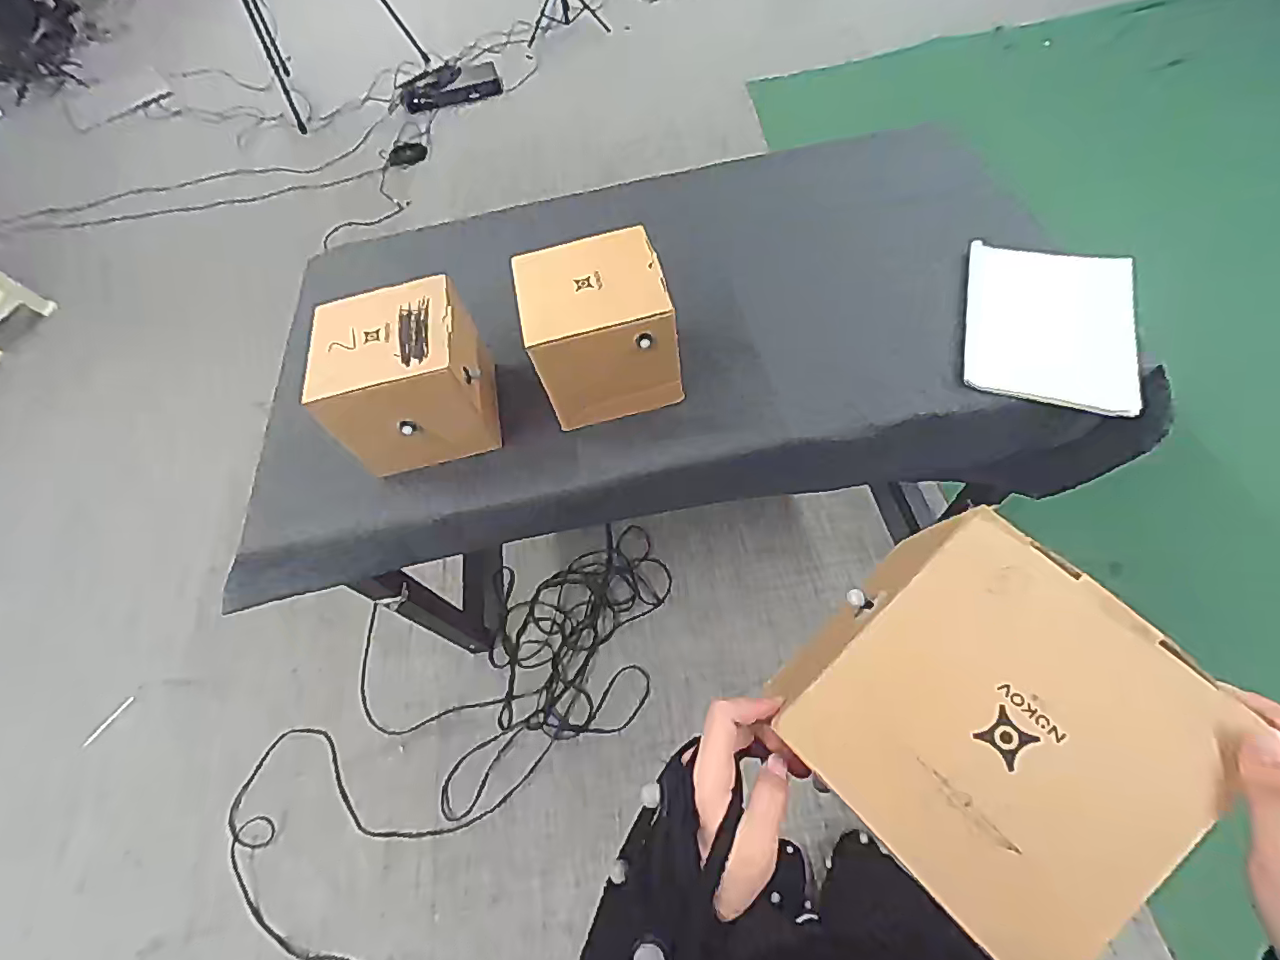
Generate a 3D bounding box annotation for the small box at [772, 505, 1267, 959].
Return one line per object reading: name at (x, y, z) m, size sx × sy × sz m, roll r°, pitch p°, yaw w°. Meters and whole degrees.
small box at (0.203, 0.145, 0.355) m, size 0.179 × 0.176 × 0.168 m, roll -45°, pitch 72°, yaw -3°

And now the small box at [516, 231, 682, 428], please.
small box at (-0.050, -0.192, 0.720) m, size 0.179 × 0.176 × 0.168 m, roll -14°, pitch 59°, yaw -1°
